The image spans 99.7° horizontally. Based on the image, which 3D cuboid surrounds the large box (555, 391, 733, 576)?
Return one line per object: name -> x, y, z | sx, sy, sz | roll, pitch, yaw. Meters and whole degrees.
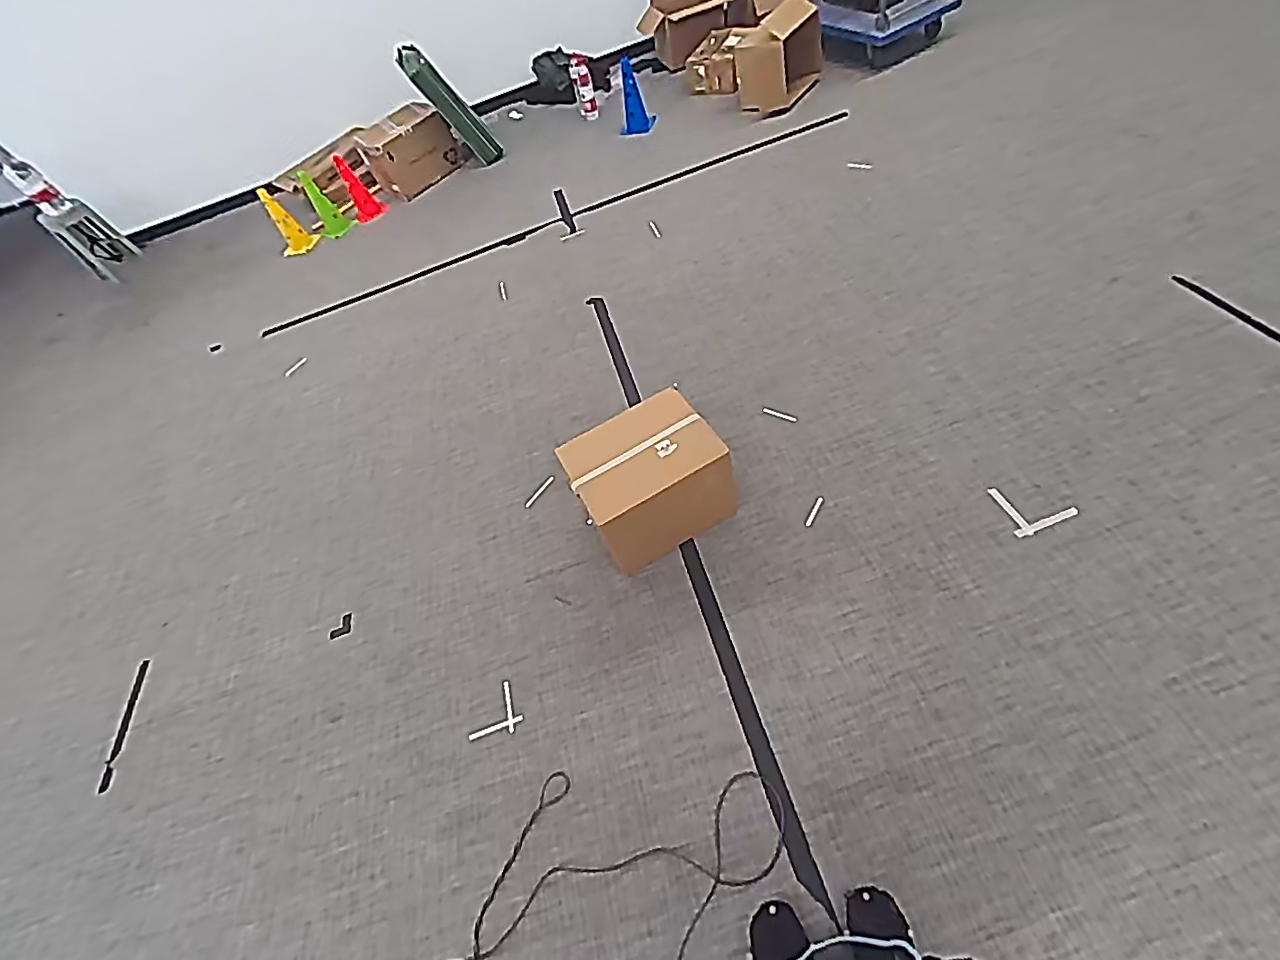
large box -> 0.022, 0.015, 1.611 | 0.408, 0.320, 0.320 | -29, 54, -7
